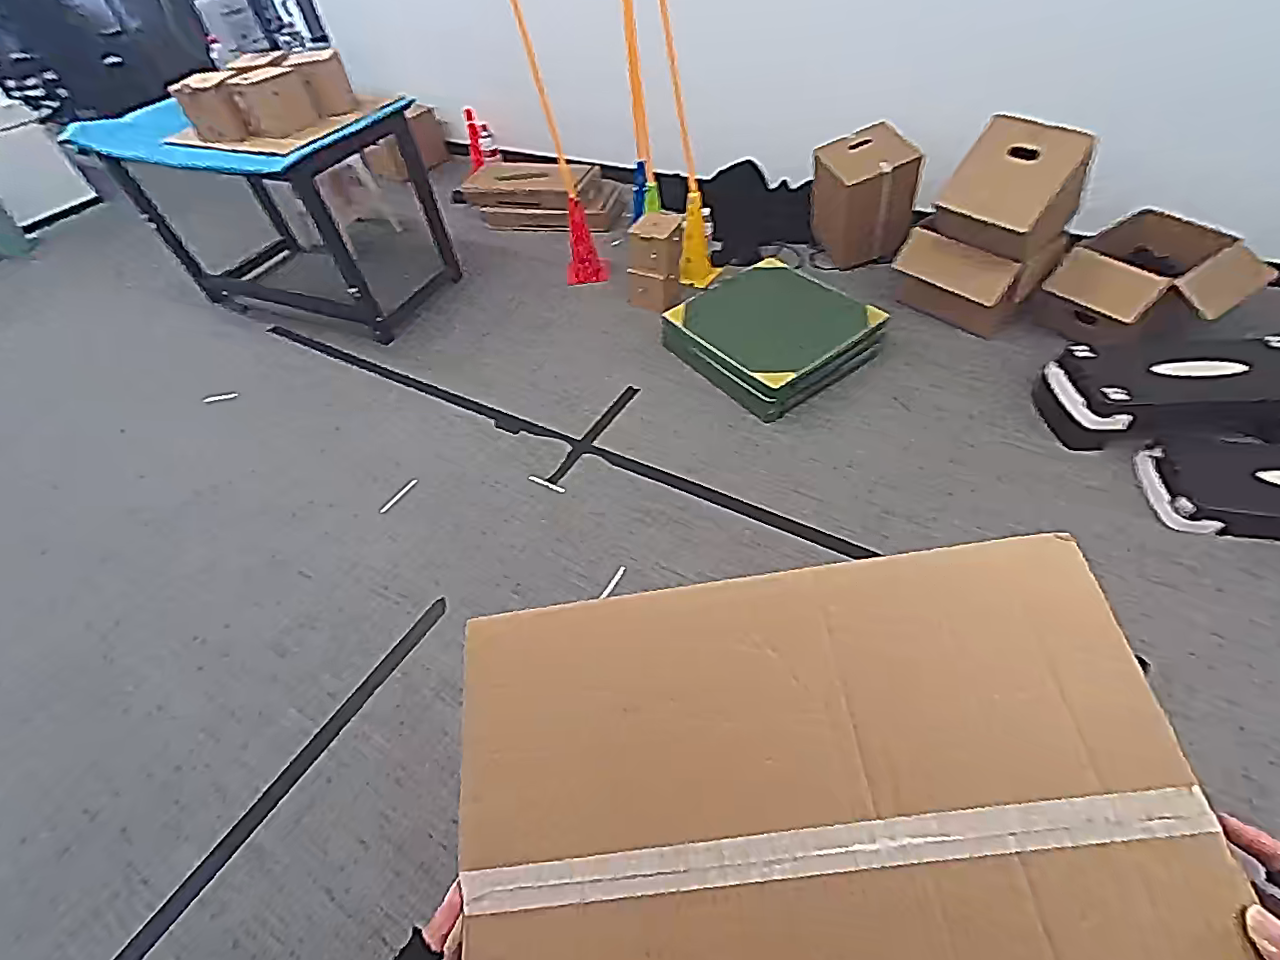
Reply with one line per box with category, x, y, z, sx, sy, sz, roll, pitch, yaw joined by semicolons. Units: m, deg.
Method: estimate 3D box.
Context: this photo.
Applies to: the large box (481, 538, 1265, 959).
large box;0.120;0.272;0.439;0.408;0.320;0.320;-10;65;4
